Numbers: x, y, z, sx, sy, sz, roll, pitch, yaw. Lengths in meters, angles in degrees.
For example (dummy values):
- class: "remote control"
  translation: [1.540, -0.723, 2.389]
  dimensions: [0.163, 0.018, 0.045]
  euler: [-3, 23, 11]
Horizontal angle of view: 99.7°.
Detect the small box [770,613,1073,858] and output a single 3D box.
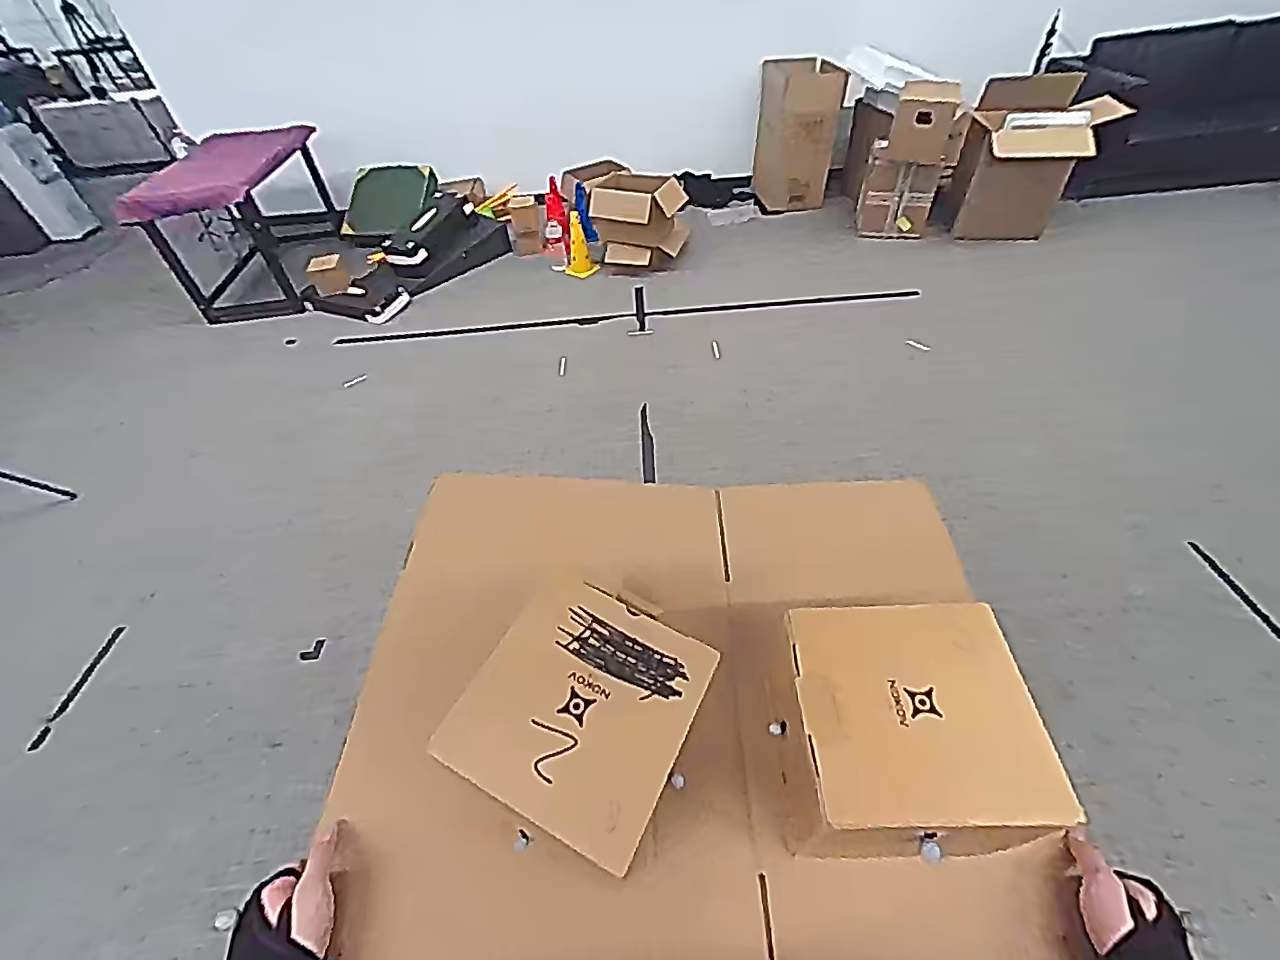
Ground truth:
- class: "small box"
  translation: [0.226, 0.236, 0.496]
  dimensions: [0.179, 0.176, 0.168]
  euler: [-3, 49, 4]
